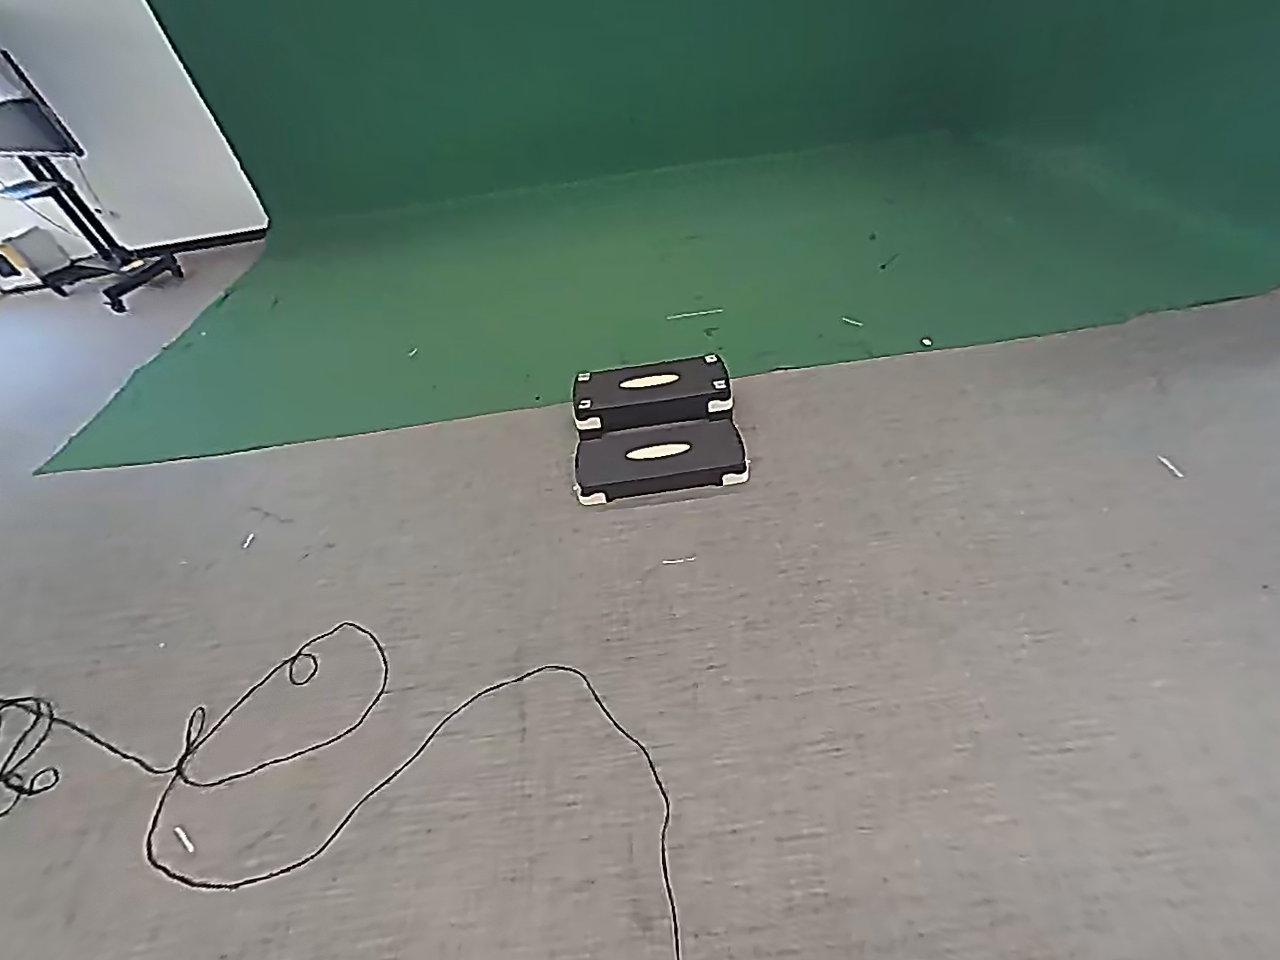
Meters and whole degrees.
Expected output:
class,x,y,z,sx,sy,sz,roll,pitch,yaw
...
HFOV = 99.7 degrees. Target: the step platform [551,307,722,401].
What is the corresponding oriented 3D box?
class,x,y,z,sx,sy,sz,roll,pitch,yaw
step platform,-0.011,-0.519,2.224,0.684,0.204,0.286,-9,45,2
